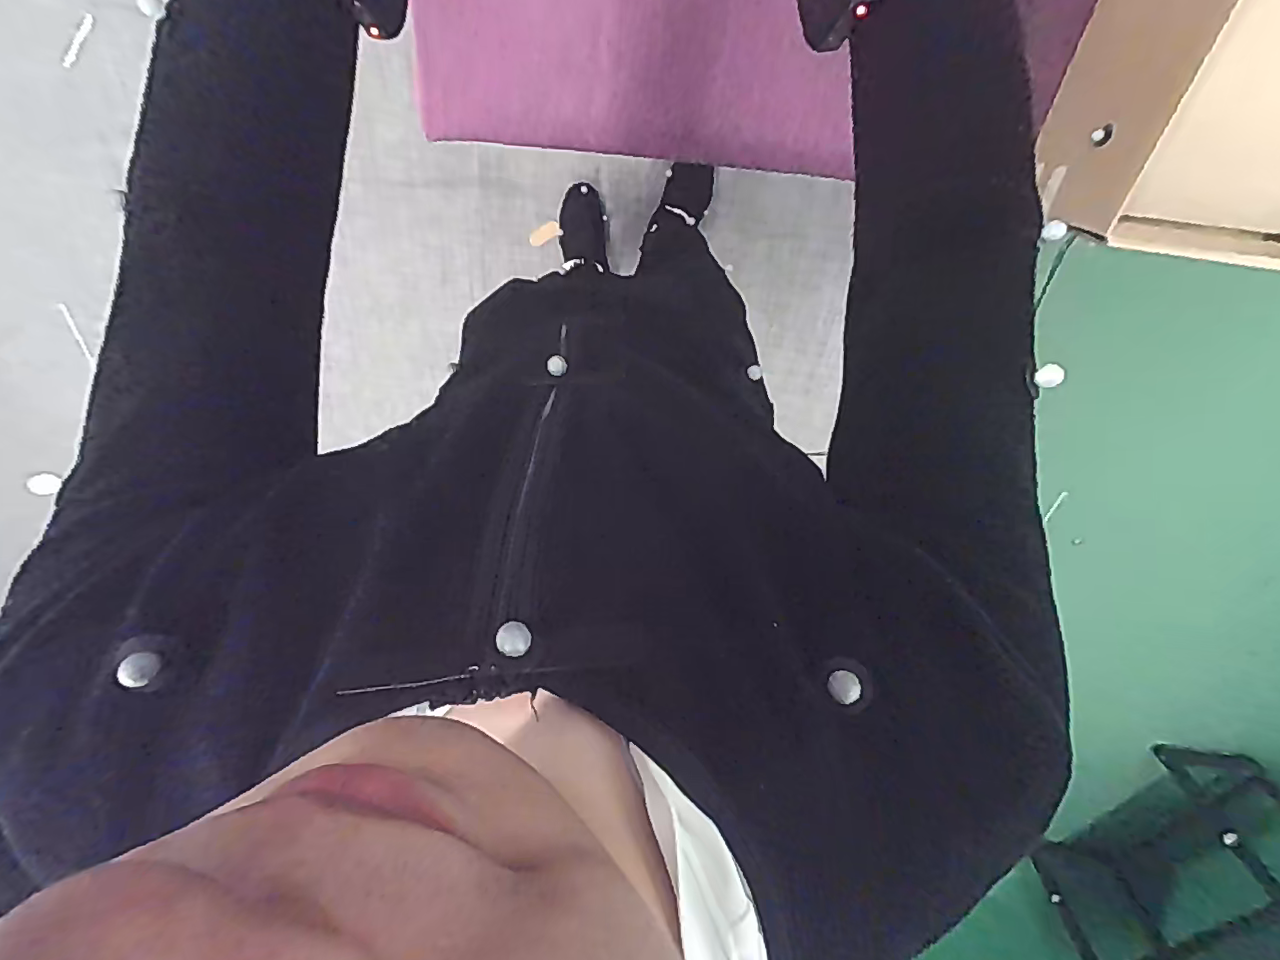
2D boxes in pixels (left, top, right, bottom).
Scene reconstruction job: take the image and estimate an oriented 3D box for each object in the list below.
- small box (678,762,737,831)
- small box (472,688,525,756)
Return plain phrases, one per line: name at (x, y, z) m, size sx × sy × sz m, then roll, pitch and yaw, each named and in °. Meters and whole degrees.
small box at (0.248, 1.171, 2.007) m, size 0.179 × 0.176 × 0.168 m, roll -14°, pitch 124°, yaw 10°
small box at (-0.532, 0.906, 2.020) m, size 0.168 × 0.176 × 0.179 m, roll 12°, pitch 123°, yaw -8°
